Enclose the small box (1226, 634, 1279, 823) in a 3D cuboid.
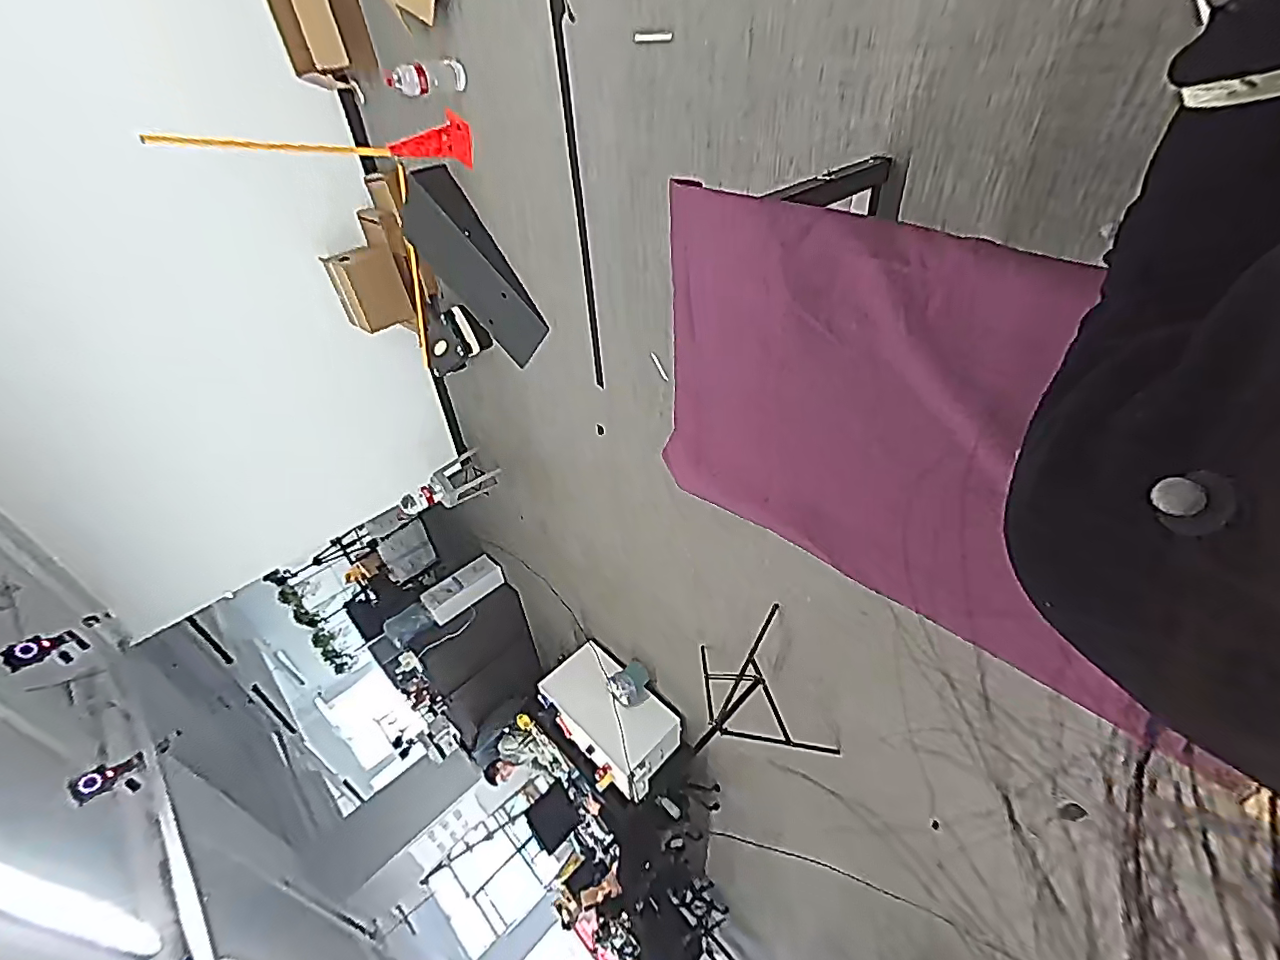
[{"bbox_3d":[0.579,0.179,0.377,0.179,0.176,0.168,27,140,37],"label":"small box"}]
